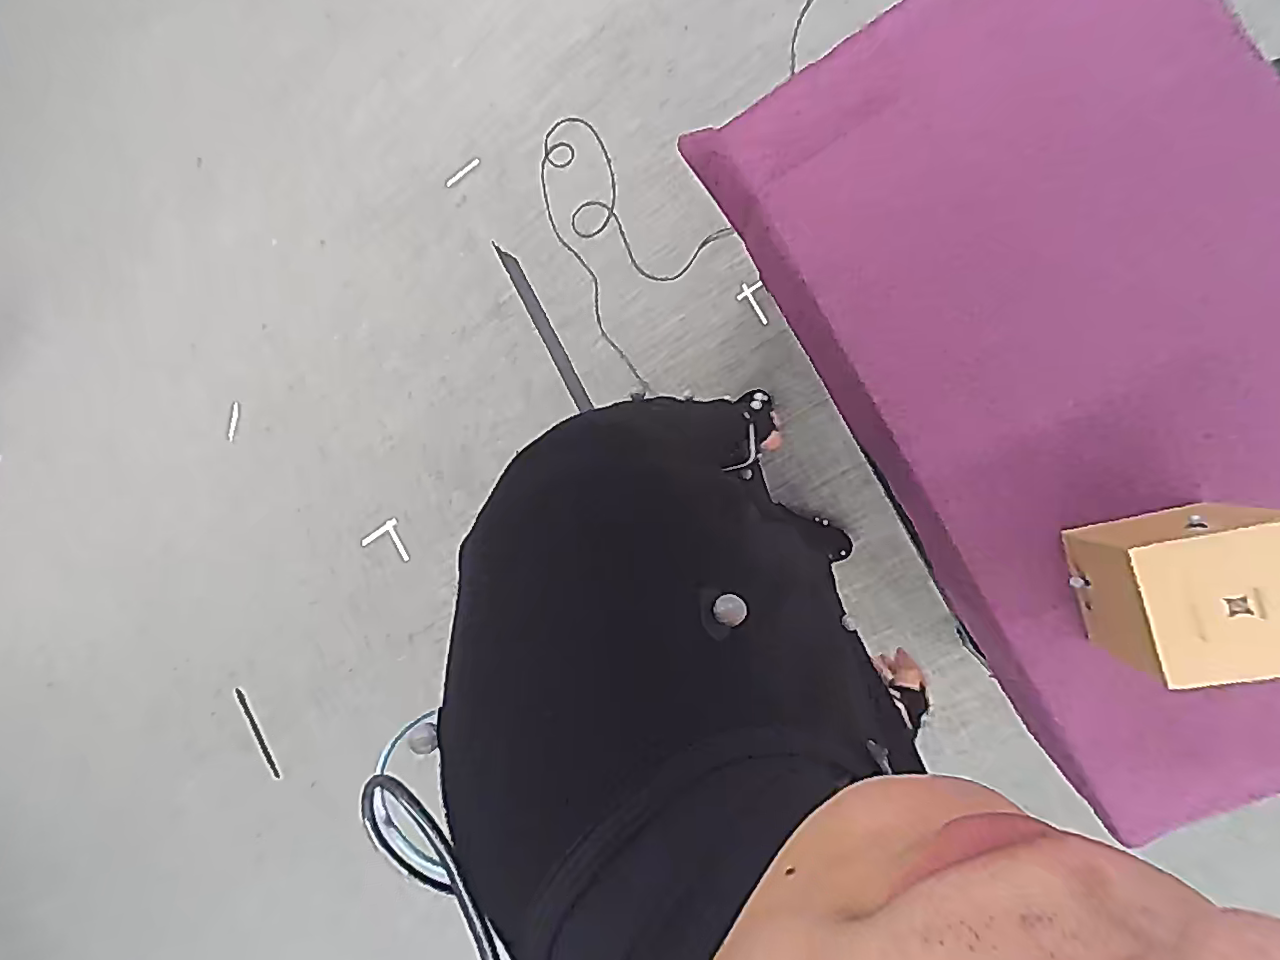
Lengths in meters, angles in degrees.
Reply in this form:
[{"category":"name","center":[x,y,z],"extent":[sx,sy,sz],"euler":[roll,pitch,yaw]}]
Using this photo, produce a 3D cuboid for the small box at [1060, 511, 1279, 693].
[{"category":"small box","center":[0.670,0.138,0.662],"extent":[0.179,0.176,0.168],"euler":[-14,87,15]}]
